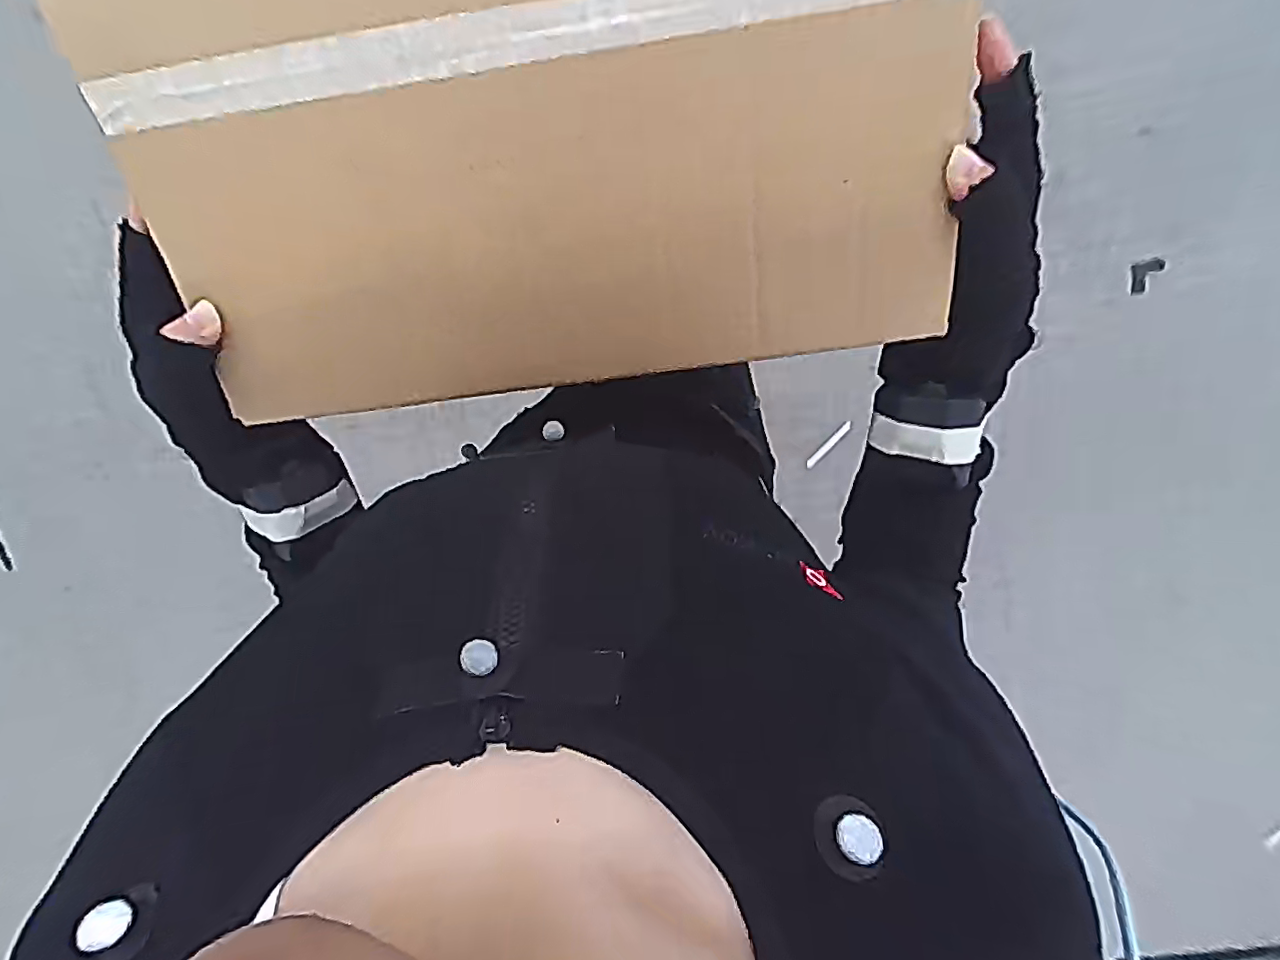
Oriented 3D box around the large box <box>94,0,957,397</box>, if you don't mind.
[{"bbox_3d":[-0.053,-0.272,0.390,0.408,0.320,0.320,-7,114,3],"label":"large box"}]
